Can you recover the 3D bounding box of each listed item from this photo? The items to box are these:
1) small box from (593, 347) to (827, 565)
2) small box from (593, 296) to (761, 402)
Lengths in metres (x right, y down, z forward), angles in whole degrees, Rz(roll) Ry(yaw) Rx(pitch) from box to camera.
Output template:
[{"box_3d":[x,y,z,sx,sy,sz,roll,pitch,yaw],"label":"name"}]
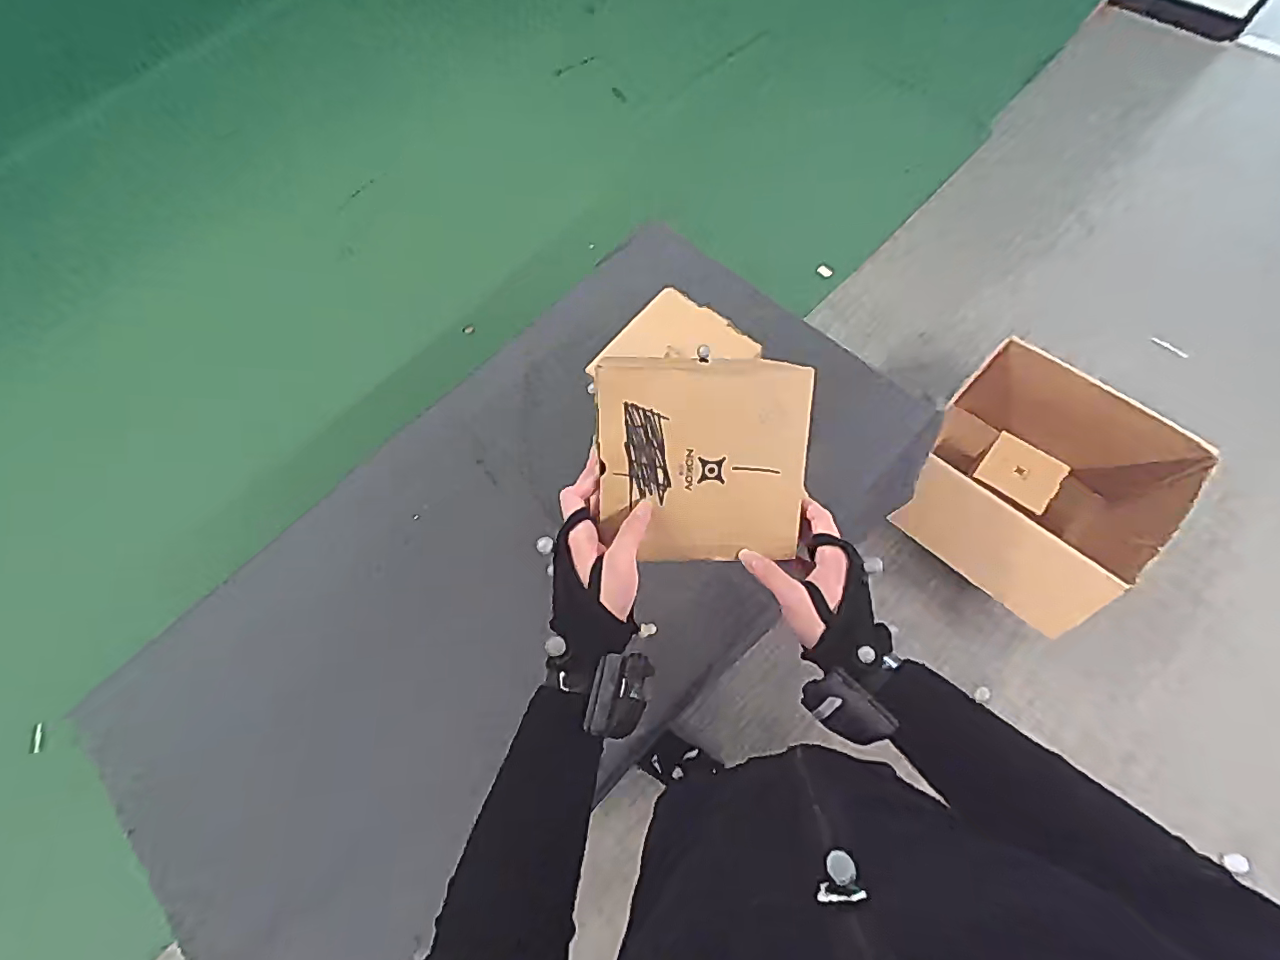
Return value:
[{"box_3d":[0.052,-0.034,0.519,0.179,0.176,0.168,5,108,-3],"label":"small box"},{"box_3d":[0.052,-0.128,0.808,0.168,0.176,0.179,37,77,15],"label":"small box"}]
